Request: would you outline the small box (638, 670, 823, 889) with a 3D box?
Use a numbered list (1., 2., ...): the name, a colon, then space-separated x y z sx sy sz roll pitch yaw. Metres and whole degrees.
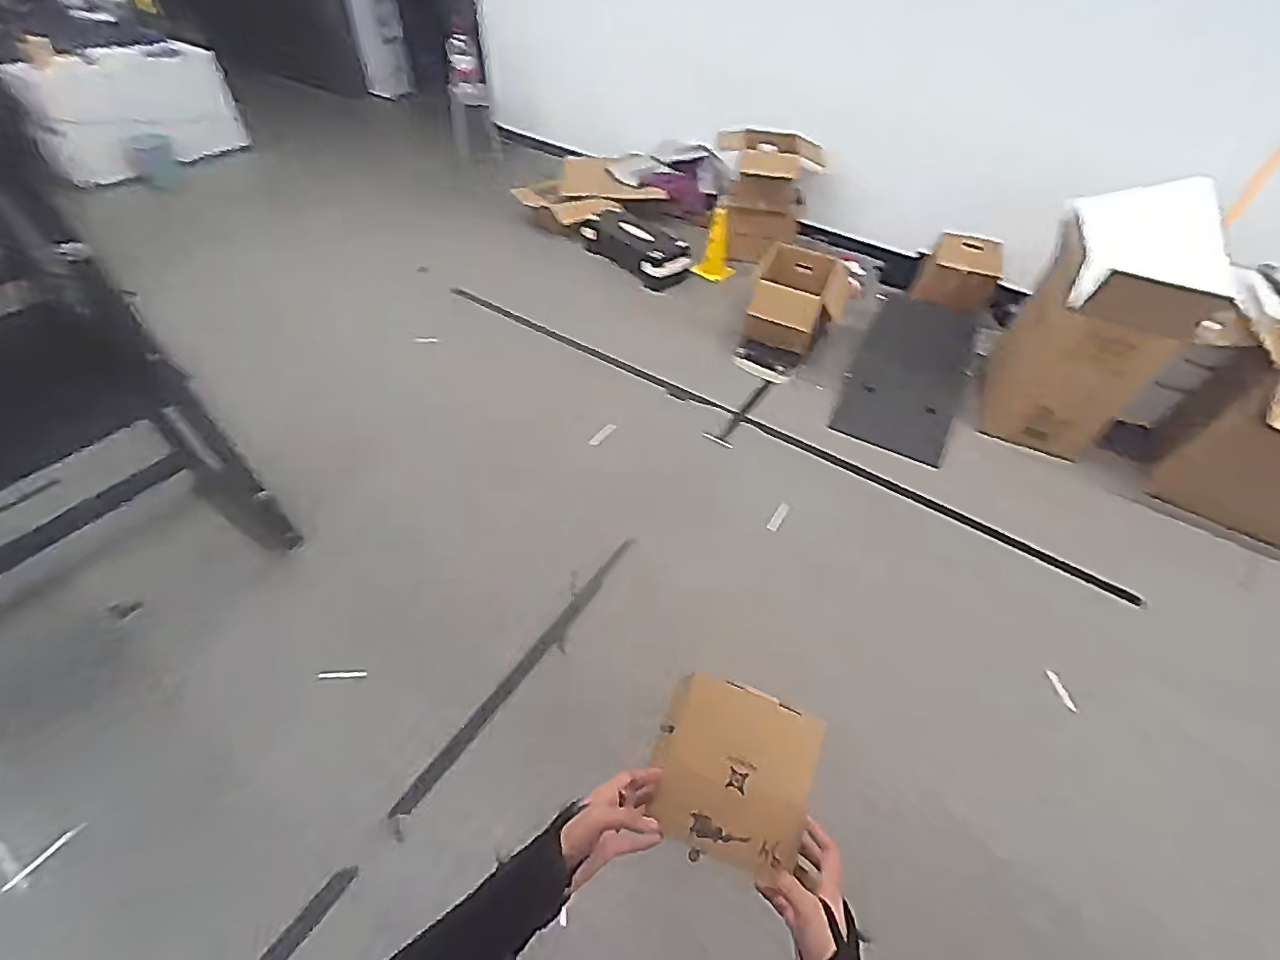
1. small box: 0.104 0.362 0.681 0.168 0.176 0.179 22 65 4
